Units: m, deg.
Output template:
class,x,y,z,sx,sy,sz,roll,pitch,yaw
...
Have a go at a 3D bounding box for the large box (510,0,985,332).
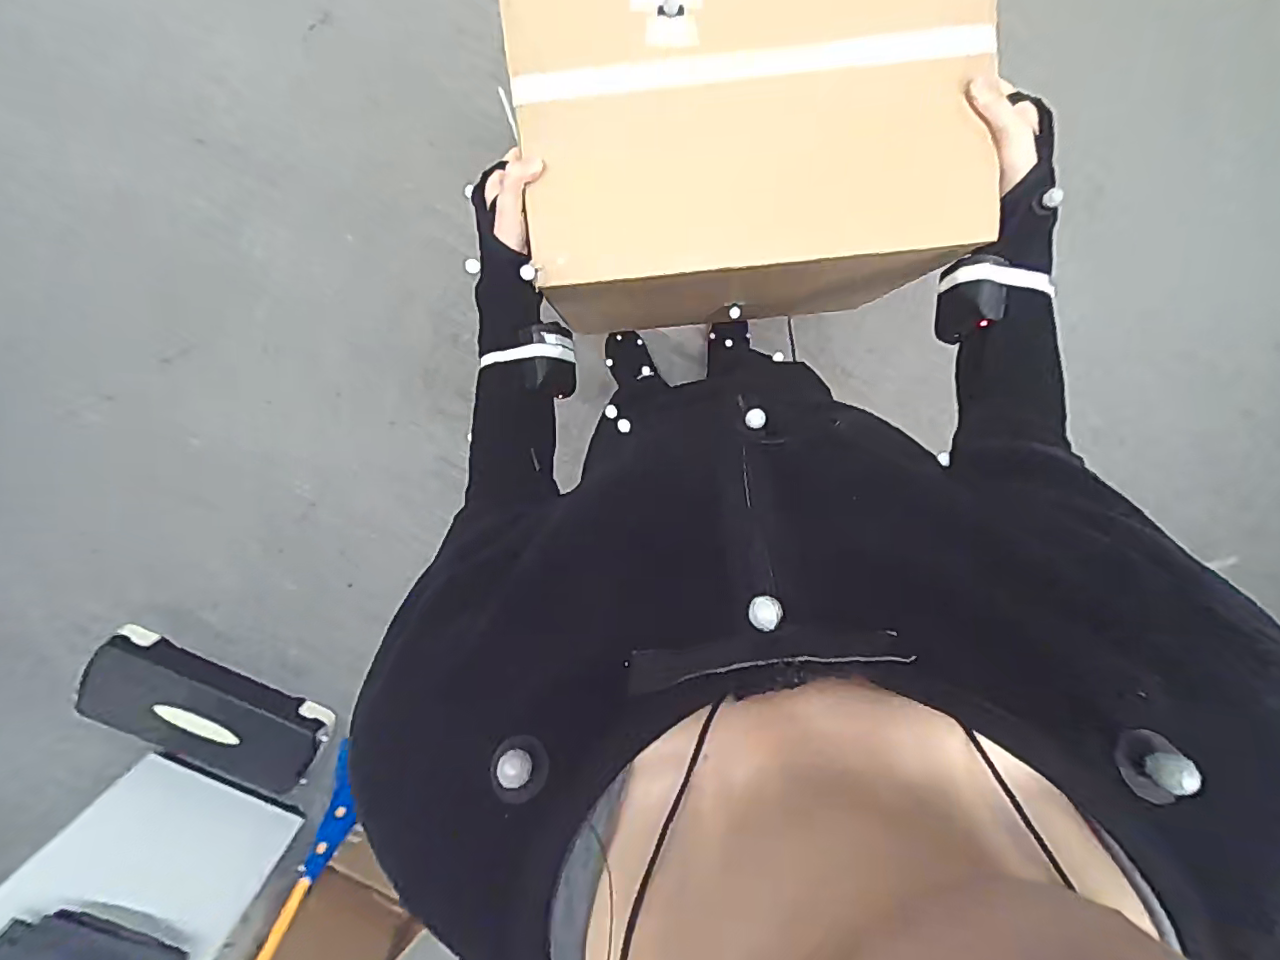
class,x,y,z,sx,sy,sz,roll,pitch,yaw
large box,0.099,-0.359,0.612,0.408,0.320,0.320,-5,97,2
